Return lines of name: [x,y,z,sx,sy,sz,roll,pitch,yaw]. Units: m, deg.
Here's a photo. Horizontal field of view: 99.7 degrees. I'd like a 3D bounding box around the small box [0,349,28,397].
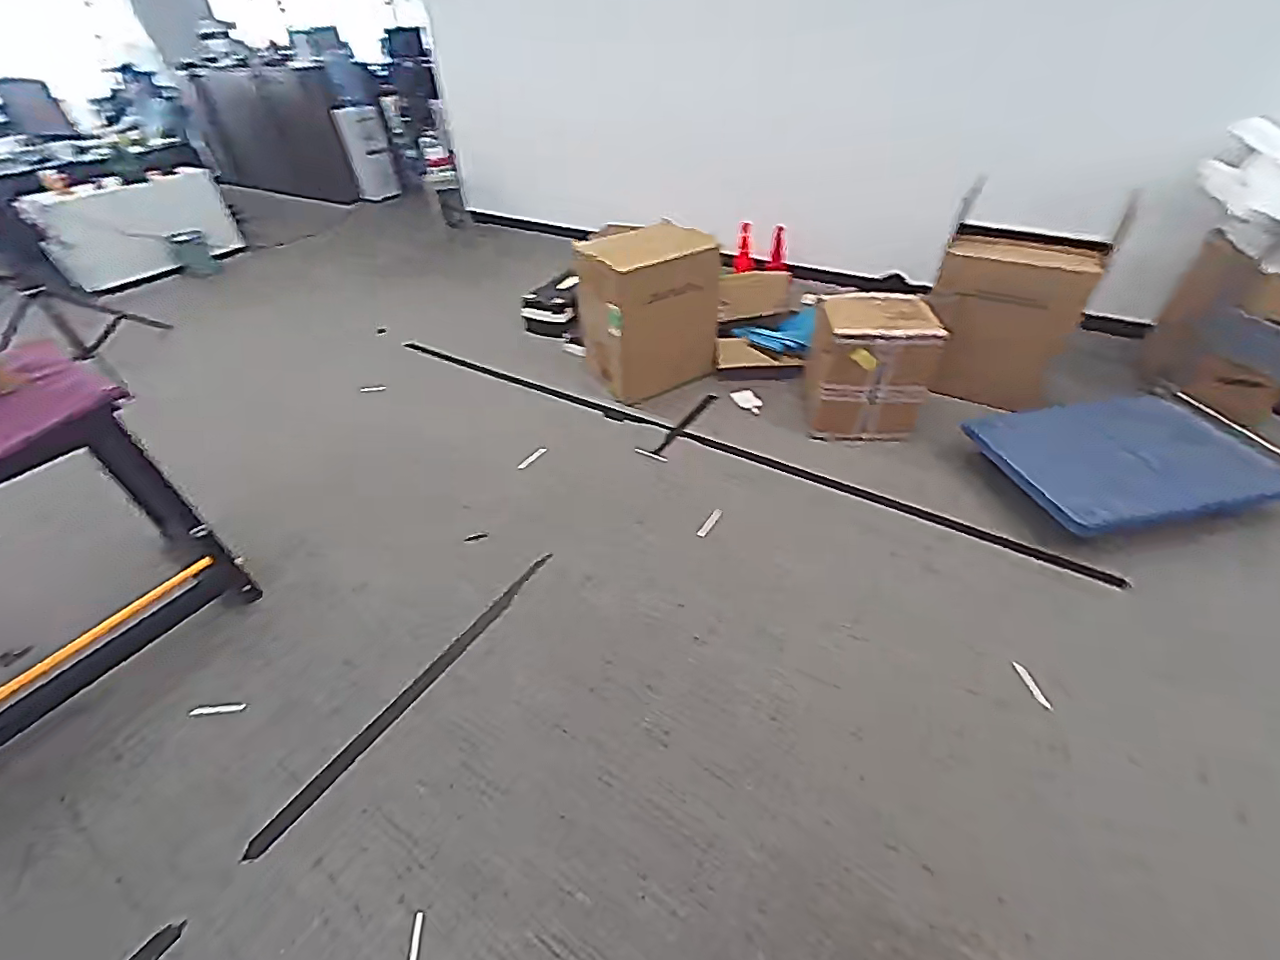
small box: [-1.664,-0.282,1.305,0.168,0.176,0.179,28,48,29]
